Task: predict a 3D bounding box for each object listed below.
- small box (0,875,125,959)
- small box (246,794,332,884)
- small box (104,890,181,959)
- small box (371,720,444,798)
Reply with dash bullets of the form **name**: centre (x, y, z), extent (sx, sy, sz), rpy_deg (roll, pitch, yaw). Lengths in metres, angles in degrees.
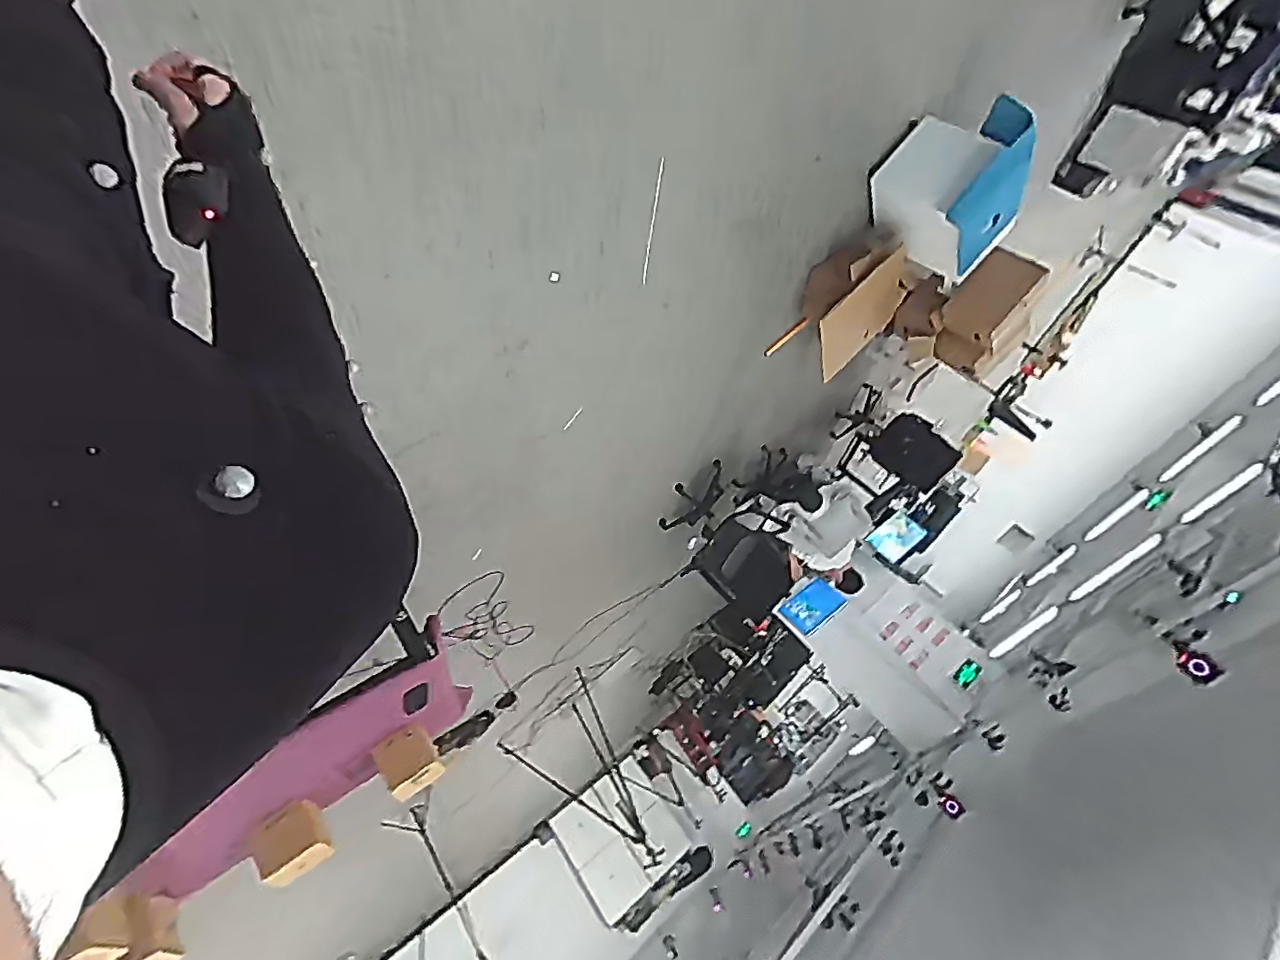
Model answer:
- **small box**: centre (-1.385, 1.086, 1.288), extent (0.168, 0.176, 0.179), rpy_deg (-27, 148, -33)
- **small box**: centre (-1.127, 1.150, 1.739), extent (0.168, 0.176, 0.179), rpy_deg (-28, 148, -30)
- **small box**: centre (-1.441, 1.298, 1.519), extent (0.168, 0.176, 0.179), rpy_deg (-26, 148, -33)
- **small box**: centre (-0.821, 0.980, 1.909), extent (0.168, 0.176, 0.179), rpy_deg (-29, 150, -26)
